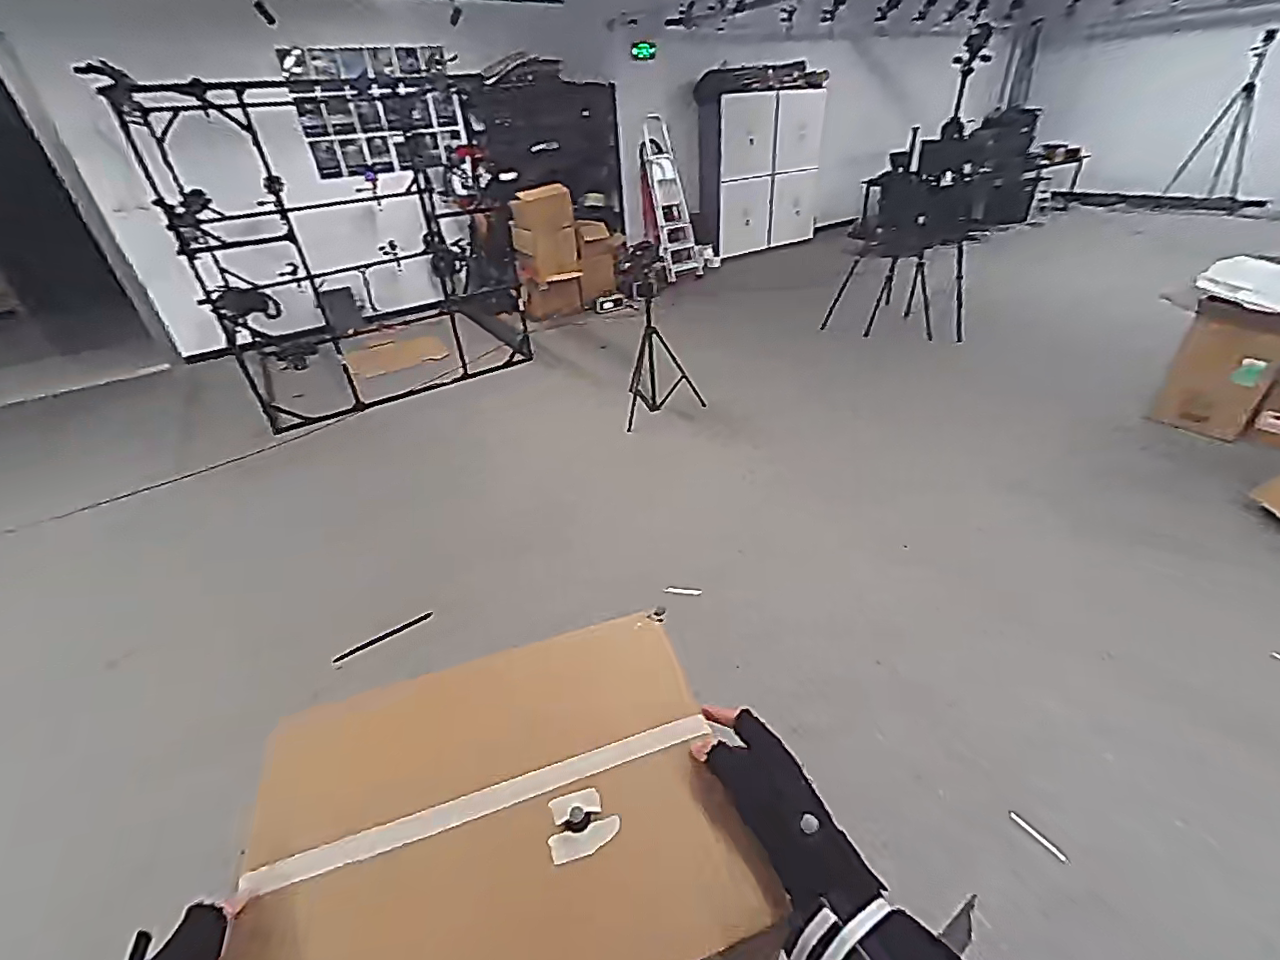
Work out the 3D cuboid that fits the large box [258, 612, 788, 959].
[{"bbox_3d":[-0.109,0.404,0.579,0.408,0.320,0.320,-12,37,-13],"label":"large box"}]
